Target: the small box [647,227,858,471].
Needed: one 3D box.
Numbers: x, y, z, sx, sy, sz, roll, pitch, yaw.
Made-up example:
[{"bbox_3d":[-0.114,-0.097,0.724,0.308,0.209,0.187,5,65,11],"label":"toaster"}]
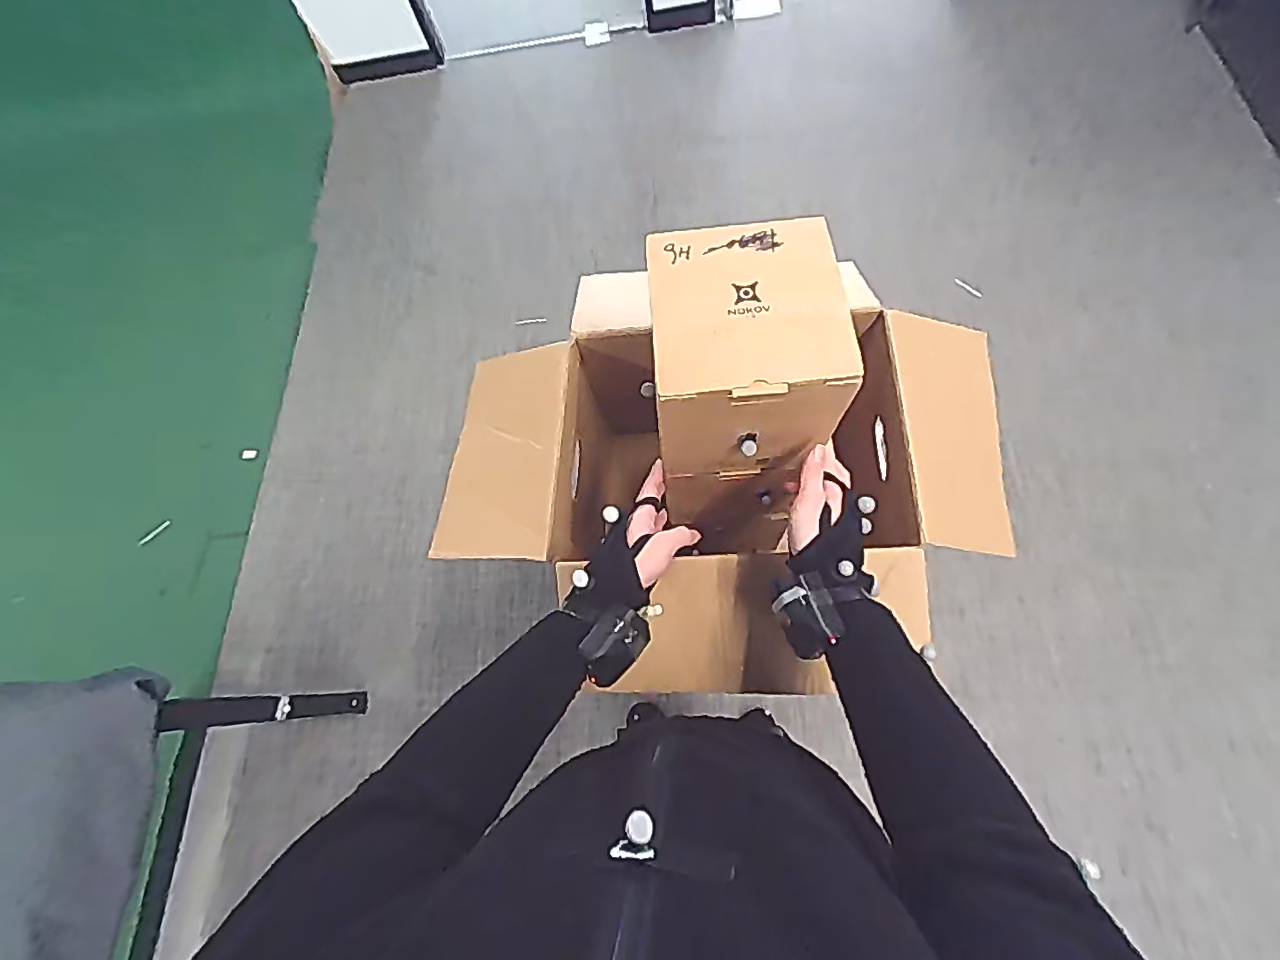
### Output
[{"bbox_3d":[0.097,-0.115,0.539,0.168,0.176,0.179,-4,69,3],"label":"small box"}]
